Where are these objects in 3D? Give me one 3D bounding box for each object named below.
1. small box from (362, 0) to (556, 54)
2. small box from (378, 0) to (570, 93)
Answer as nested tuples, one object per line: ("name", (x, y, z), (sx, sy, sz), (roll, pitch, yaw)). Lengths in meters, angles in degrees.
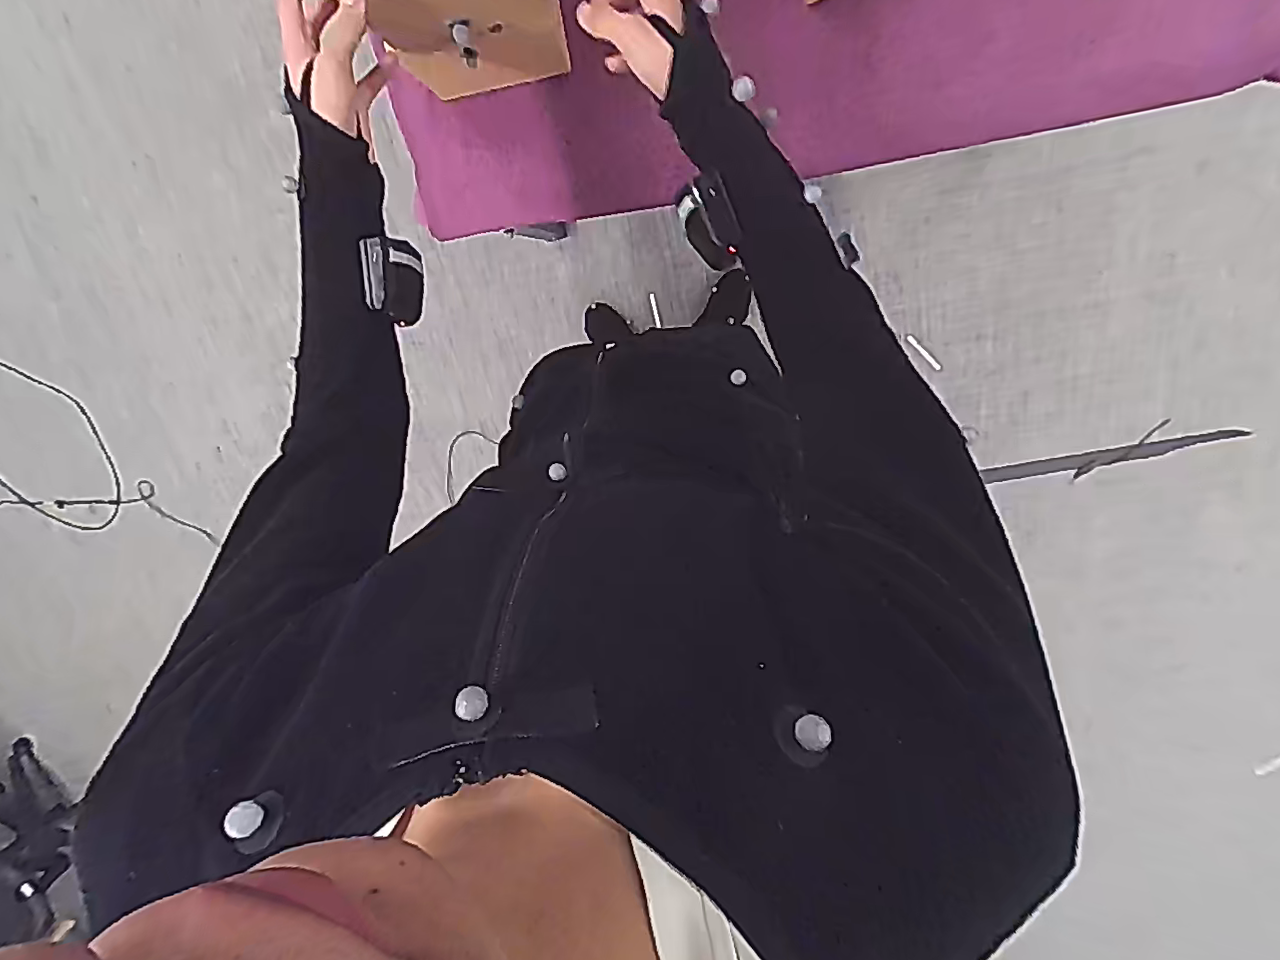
("small box", (-0.176, -0.498, 0.445), (0.168, 0.176, 0.179), (-9, 112, 5))
("small box", (-0.187, -0.559, 0.597), (0.179, 0.176, 0.168), (-9, 111, 4))
